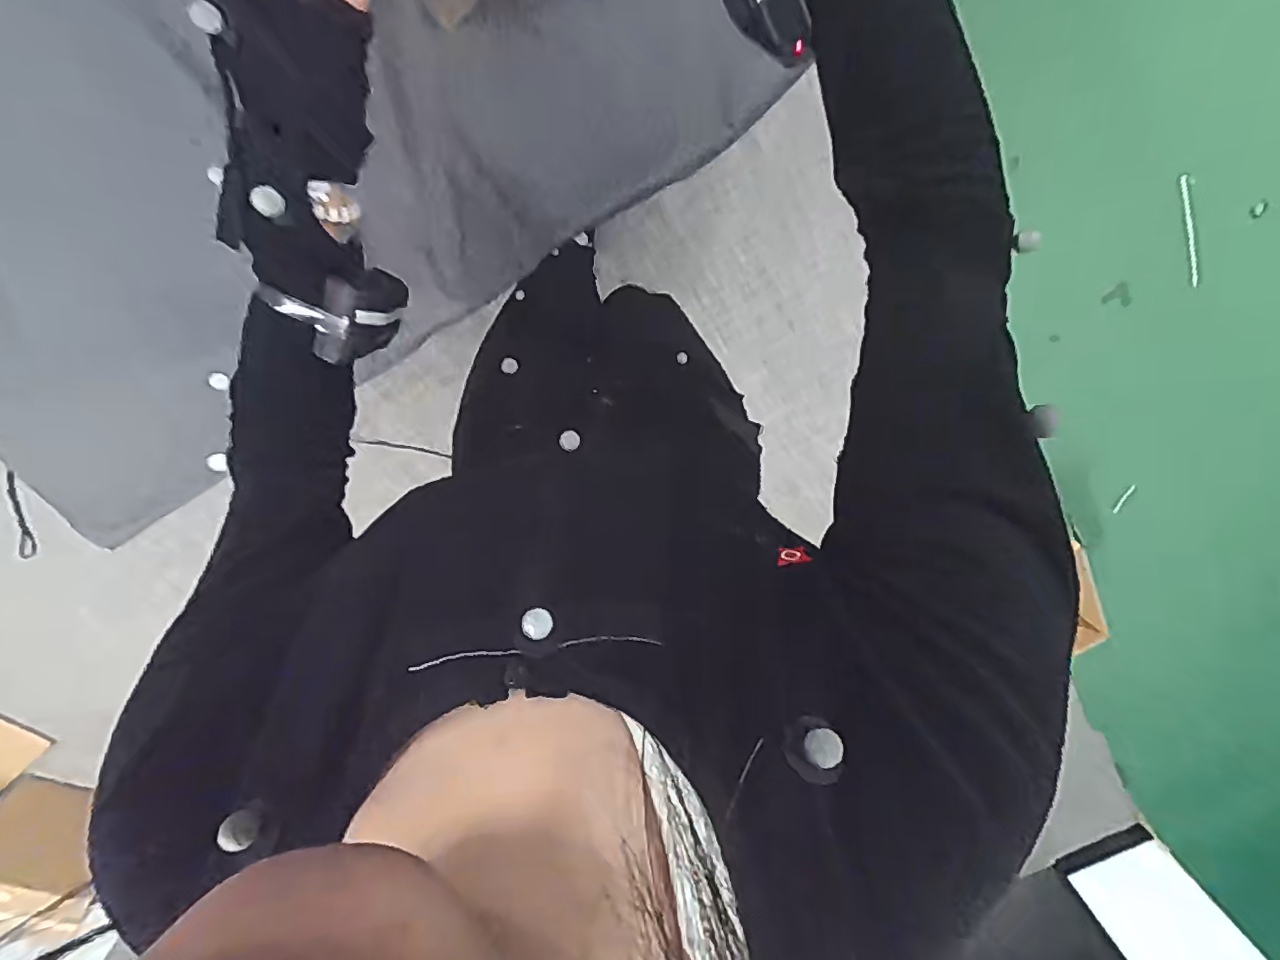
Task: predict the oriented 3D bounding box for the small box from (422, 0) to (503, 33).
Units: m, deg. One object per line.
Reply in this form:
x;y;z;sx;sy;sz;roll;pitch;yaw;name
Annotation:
-0.160;-0.506;0.417;0.168;0.176;0.179;-34;114;12;small box
